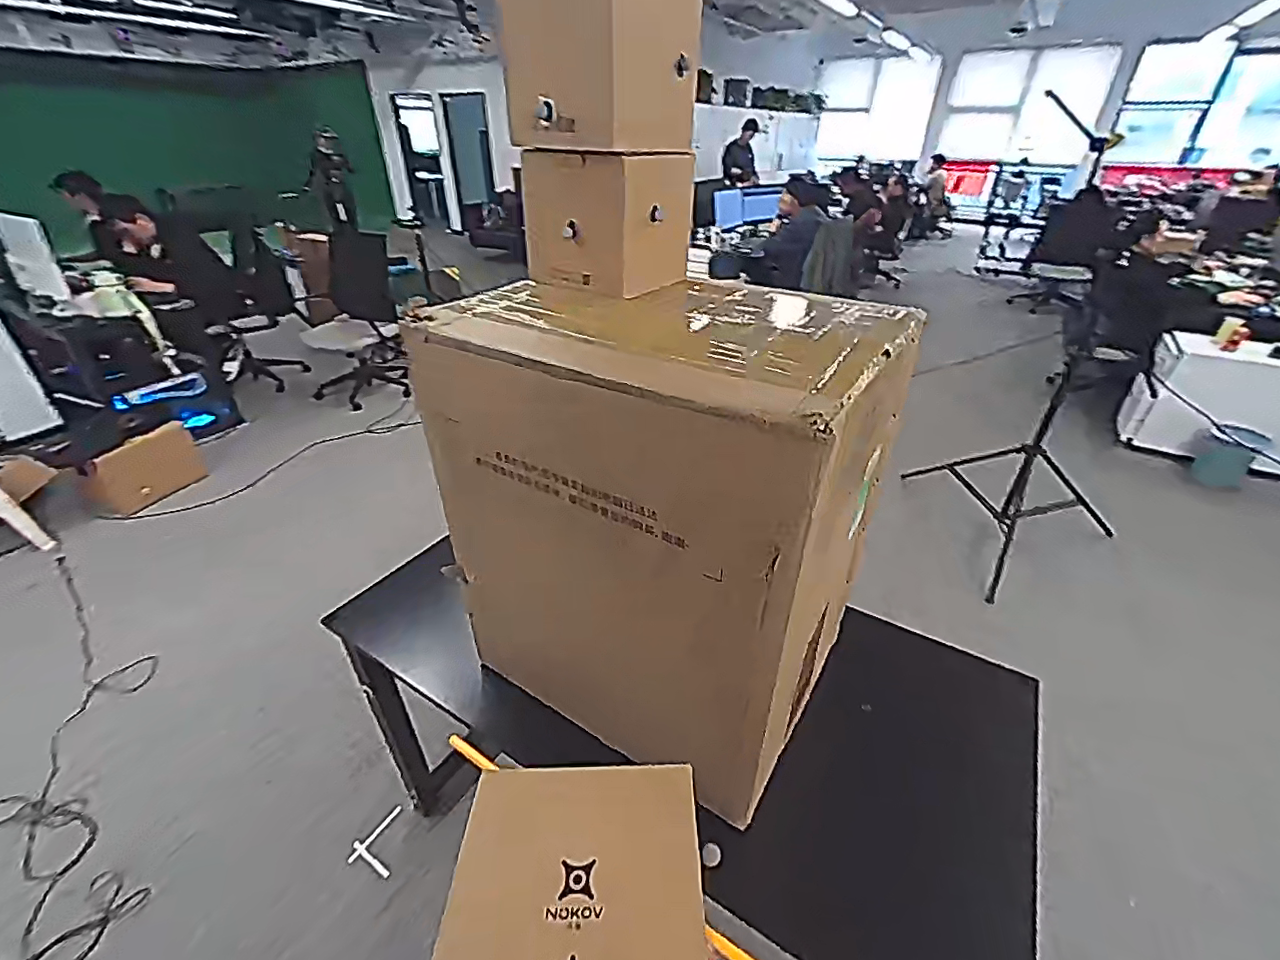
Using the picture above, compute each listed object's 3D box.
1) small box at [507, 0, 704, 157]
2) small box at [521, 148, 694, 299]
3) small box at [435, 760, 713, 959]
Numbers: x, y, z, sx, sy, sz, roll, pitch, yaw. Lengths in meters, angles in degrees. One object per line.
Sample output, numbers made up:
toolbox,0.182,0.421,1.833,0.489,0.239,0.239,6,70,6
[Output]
small box,-0.041,-0.490,0.647,0.168,0.176,0.179,20,38,28
small box,-0.038,-0.360,0.748,0.168,0.176,0.179,20,38,26
small box,-0.035,0.333,0.387,0.168,0.176,0.179,-2,29,2
